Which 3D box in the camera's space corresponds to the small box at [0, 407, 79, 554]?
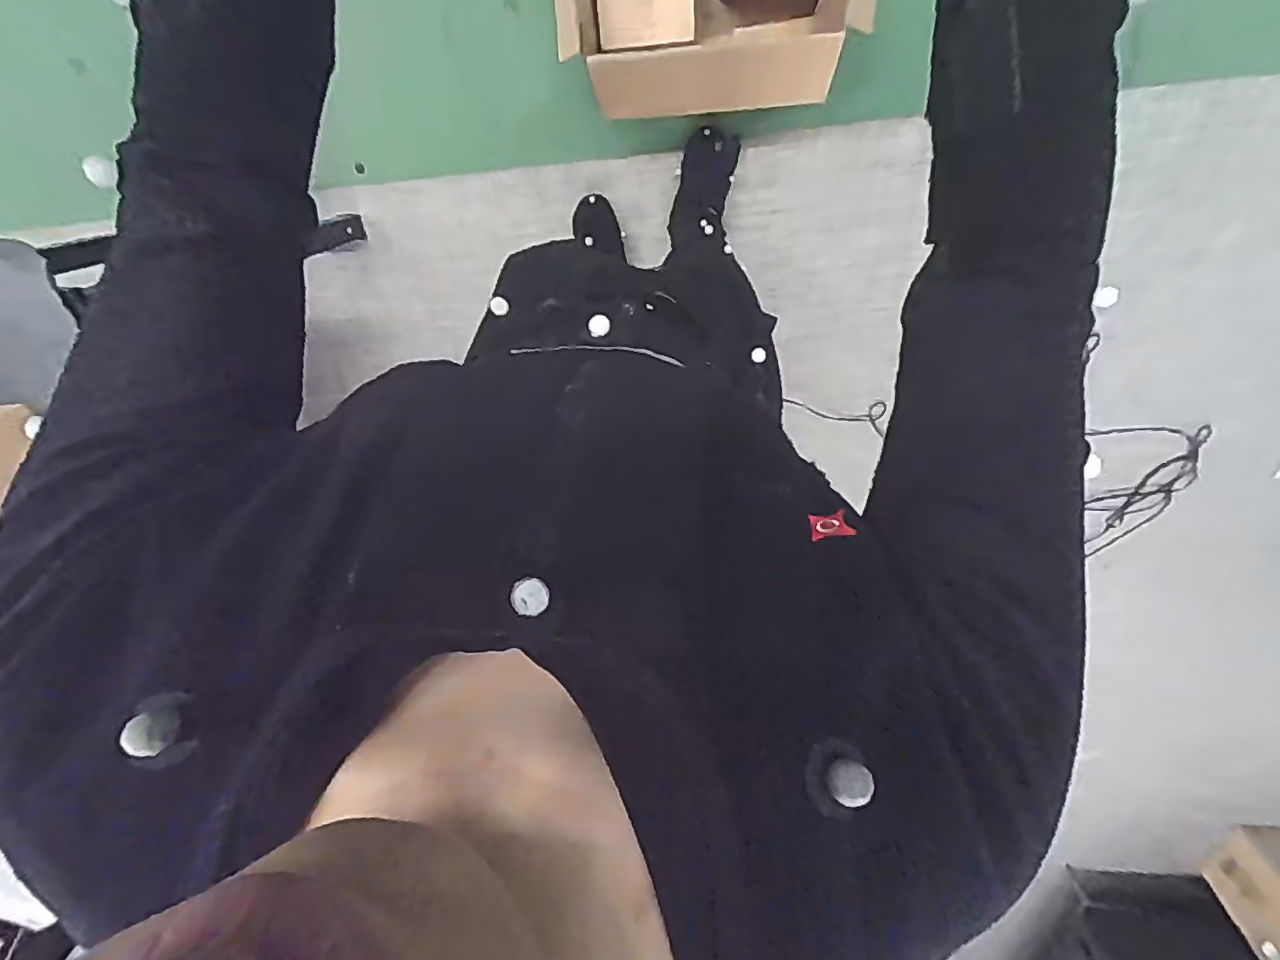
[{"bbox_3d":[-0.986,0.004,0.778,0.179,0.176,0.168,-2,124,9],"label":"small box"}]
